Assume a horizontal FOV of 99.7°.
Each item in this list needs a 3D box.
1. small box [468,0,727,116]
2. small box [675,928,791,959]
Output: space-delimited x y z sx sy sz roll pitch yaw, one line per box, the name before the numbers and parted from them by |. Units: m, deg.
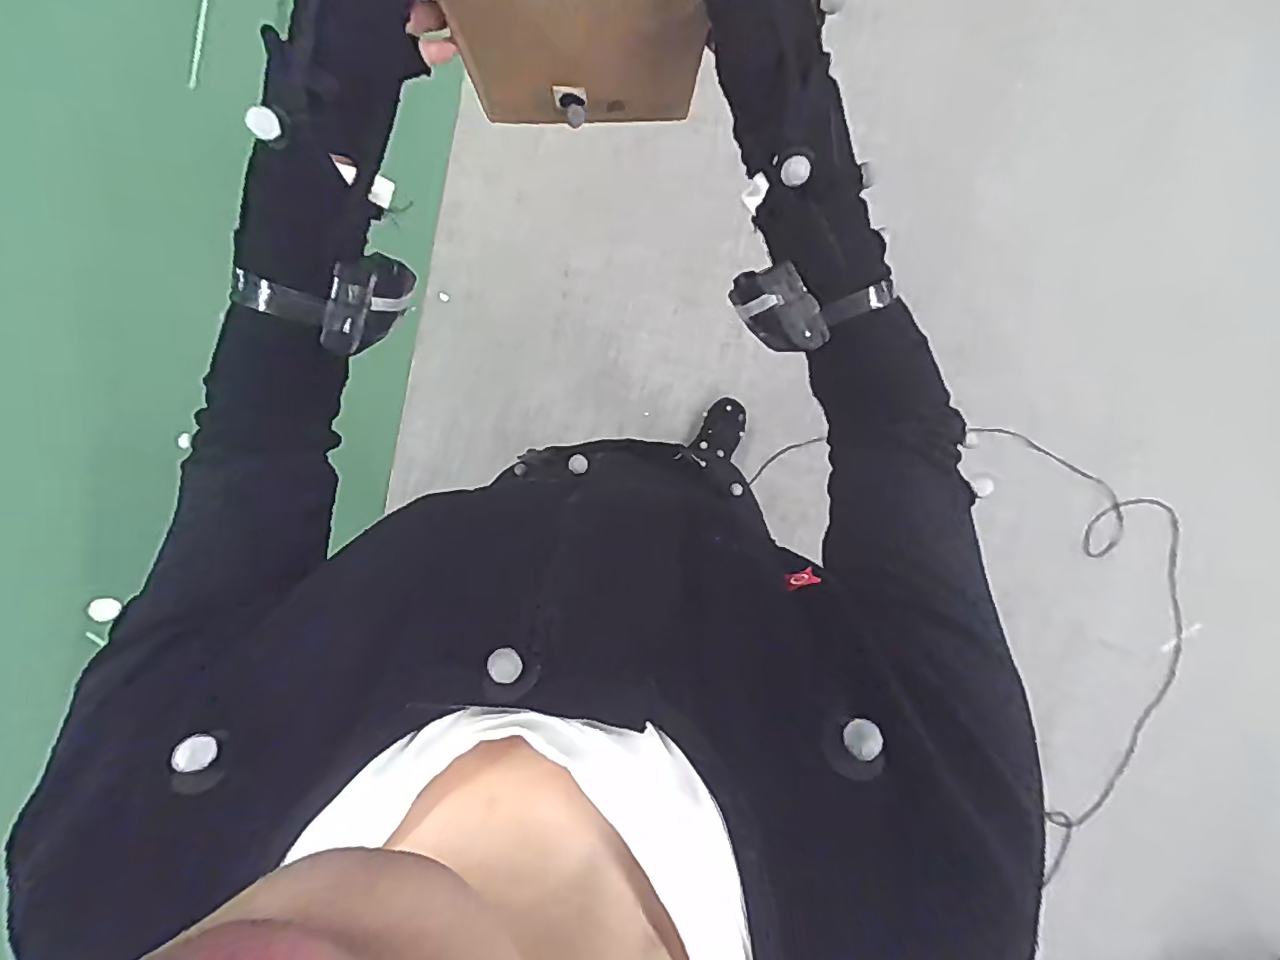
small box | -0.033 -0.377 0.354 0.168 0.176 0.179 -3 98 -2
small box | 0.129 0.747 0.716 0.168 0.176 0.179 7 95 -1
